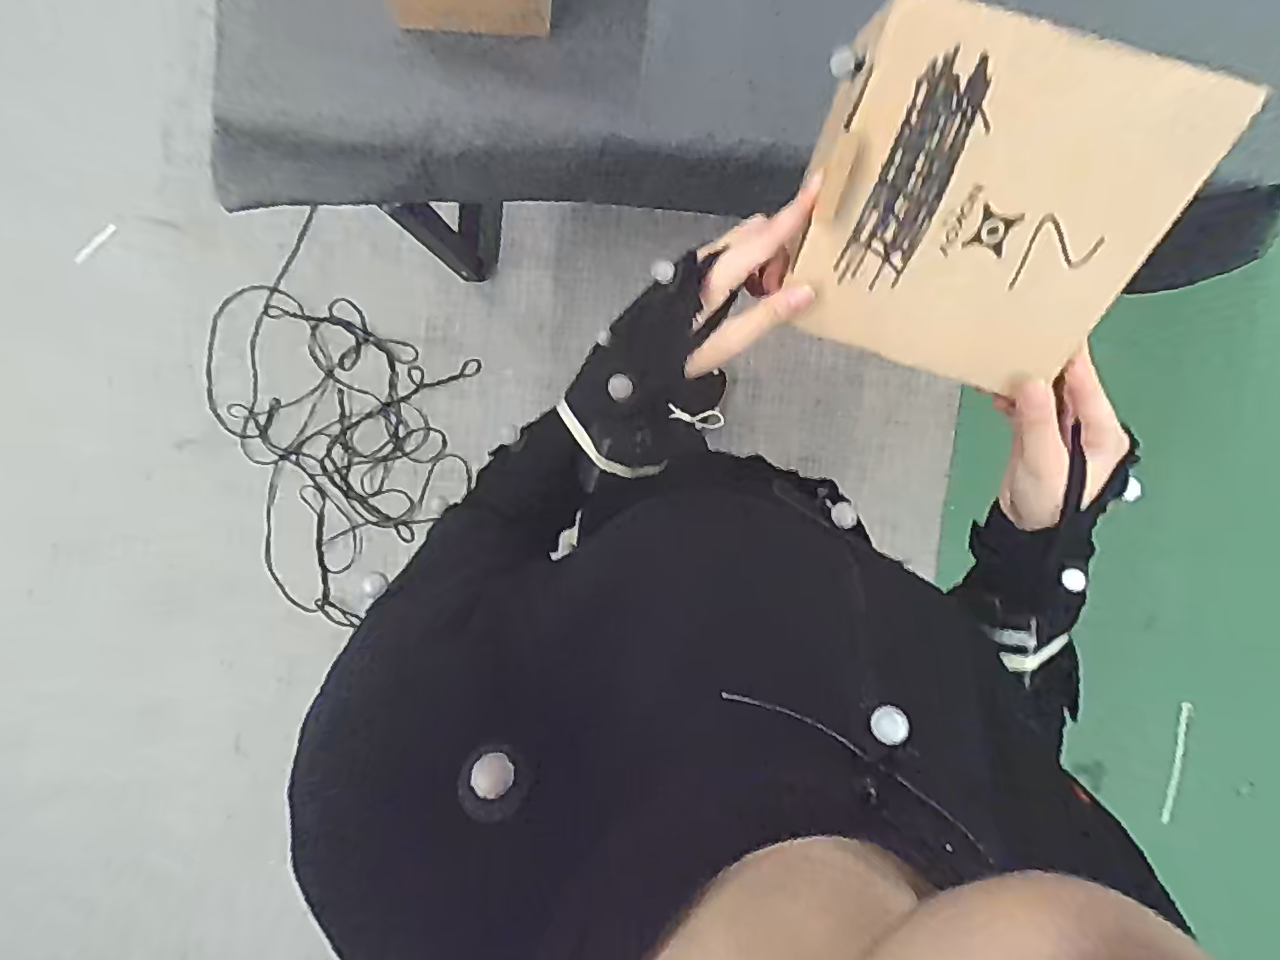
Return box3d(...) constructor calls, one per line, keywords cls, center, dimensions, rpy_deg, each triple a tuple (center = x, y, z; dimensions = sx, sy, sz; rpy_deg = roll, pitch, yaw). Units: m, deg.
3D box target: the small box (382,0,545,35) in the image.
box3d(cls="small box", center=(-0.185, -0.579, 0.525), dimensions=(0.179, 0.176, 0.168), rpy_deg=(4, 91, 2))
